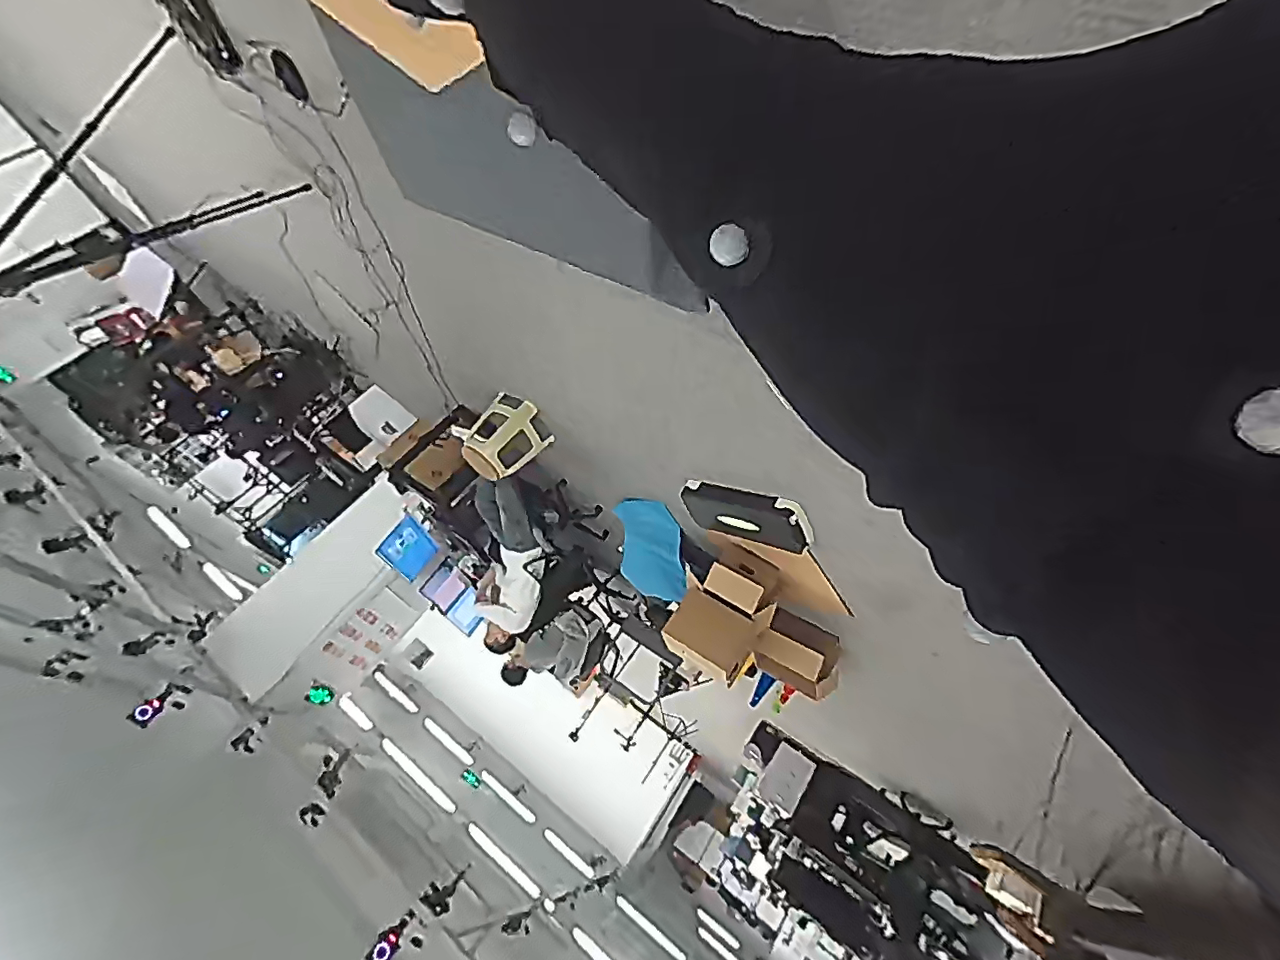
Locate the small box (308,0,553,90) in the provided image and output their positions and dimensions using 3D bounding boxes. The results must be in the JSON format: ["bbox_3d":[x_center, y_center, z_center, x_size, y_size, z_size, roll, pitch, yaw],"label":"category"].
[{"bbox_3d":[-0.204,-0.507,0.481,0.168,0.179,0.176,-15,98,17],"label":"small box"}]
